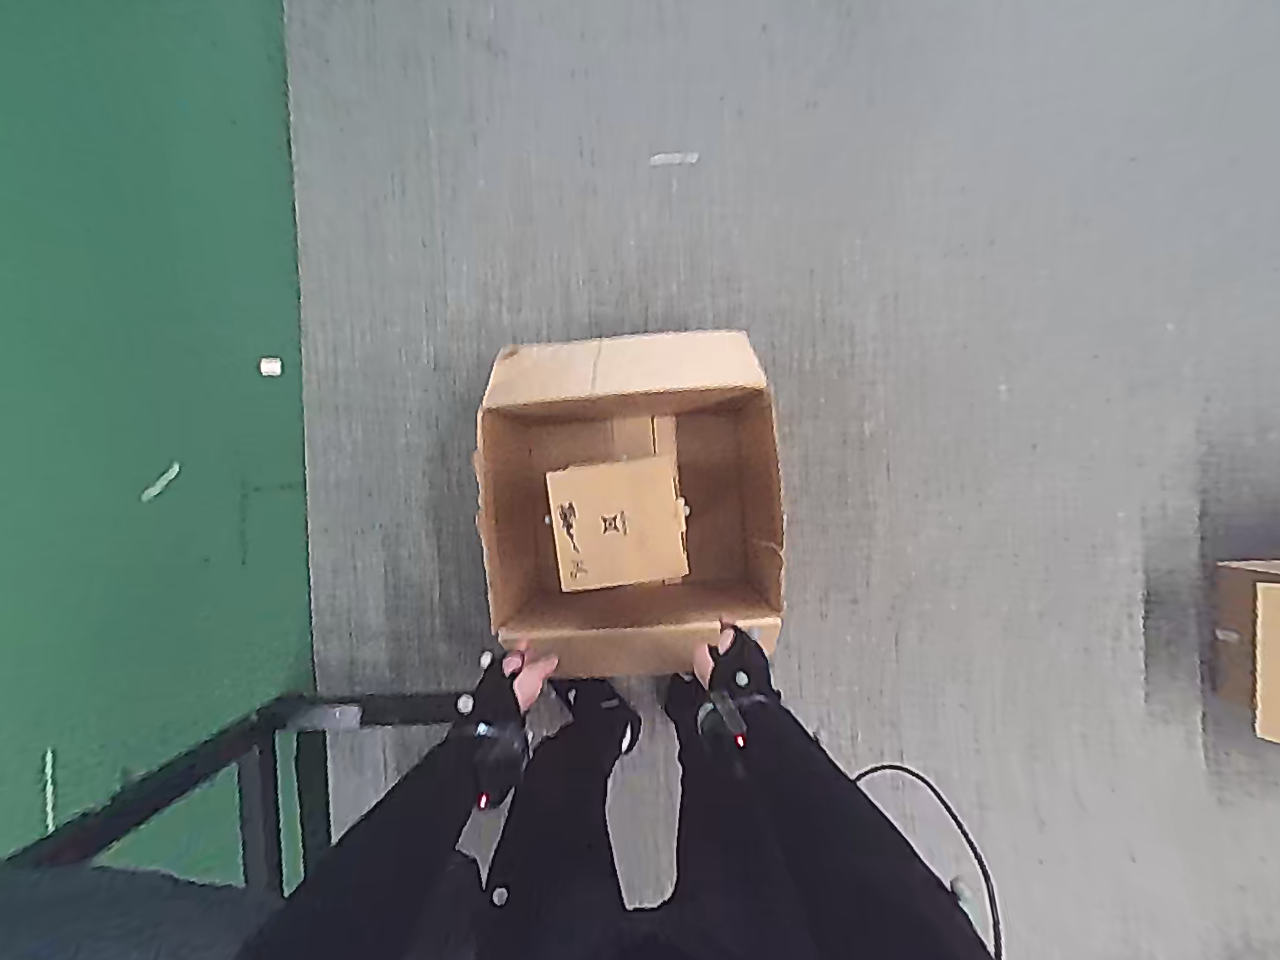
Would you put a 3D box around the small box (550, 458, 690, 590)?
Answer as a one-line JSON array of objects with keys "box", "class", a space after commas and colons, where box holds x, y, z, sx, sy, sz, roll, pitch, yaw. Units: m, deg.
[{"box": [-0.027, 0.061, 0.833, 0.179, 0.176, 0.168, -10, 89, 2], "class": "small box"}]
